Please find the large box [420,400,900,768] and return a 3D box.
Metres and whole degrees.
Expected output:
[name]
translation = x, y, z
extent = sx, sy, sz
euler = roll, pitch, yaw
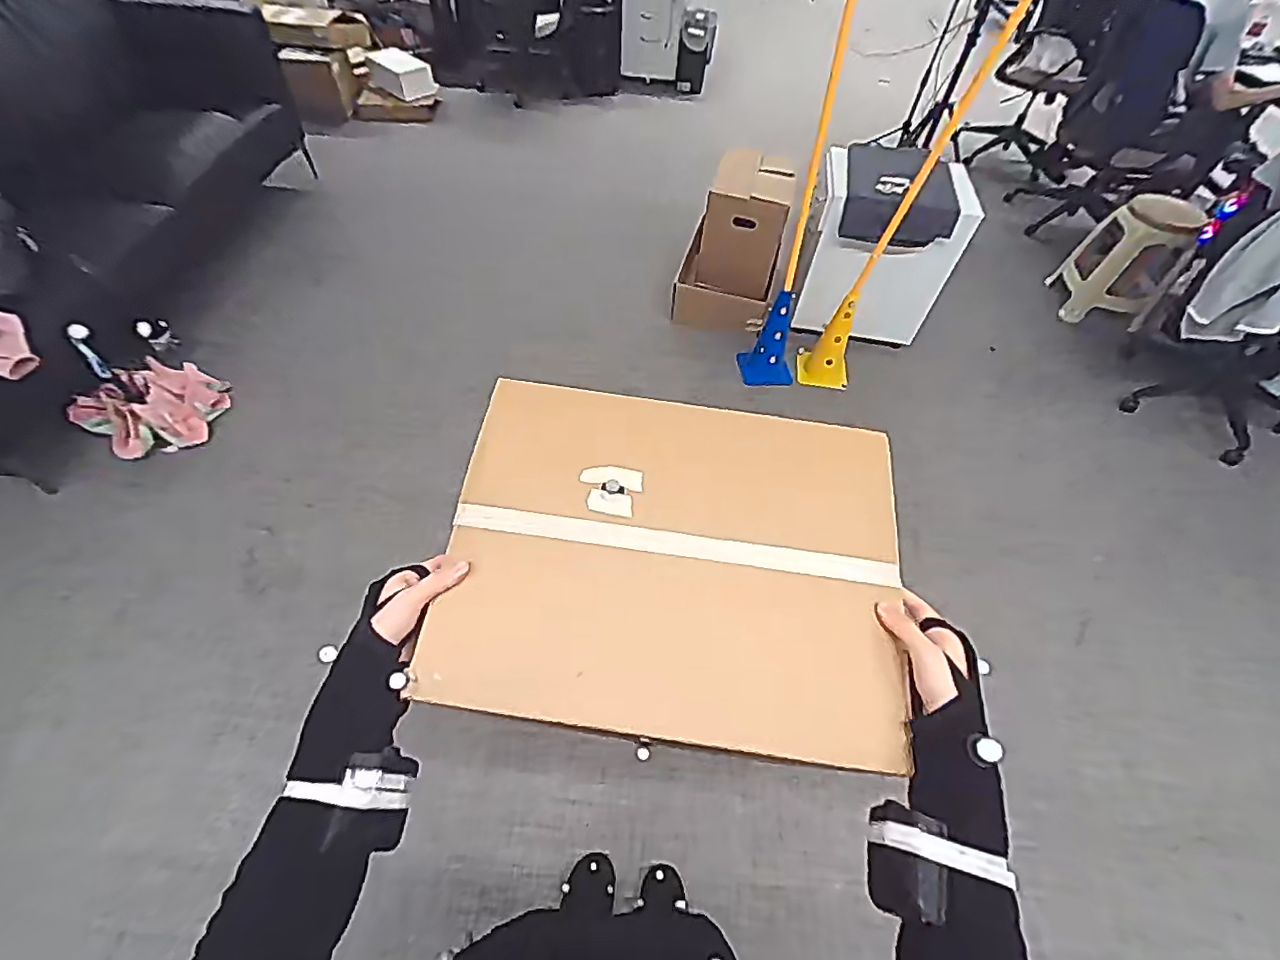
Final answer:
[large box]
translation = 0.030, 0.137, 0.638
extent = 0.408, 0.320, 0.320
euler = 8, 63, 2
